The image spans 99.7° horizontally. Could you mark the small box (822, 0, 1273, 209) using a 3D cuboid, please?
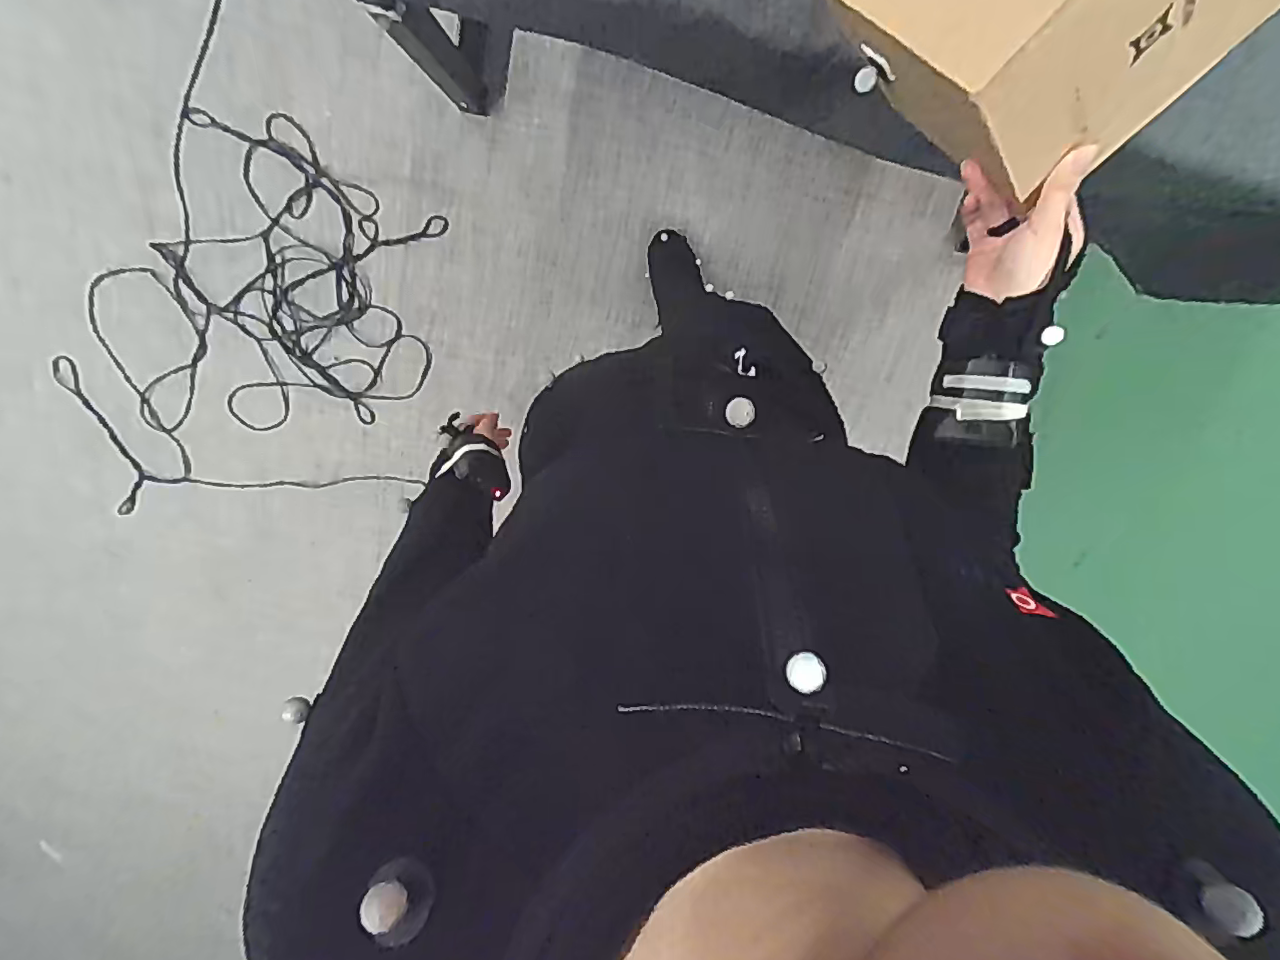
[{"bbox_3d":[0.246,-0.316,0.326,0.168,0.176,0.179,5,140,-44],"label":"small box"}]
